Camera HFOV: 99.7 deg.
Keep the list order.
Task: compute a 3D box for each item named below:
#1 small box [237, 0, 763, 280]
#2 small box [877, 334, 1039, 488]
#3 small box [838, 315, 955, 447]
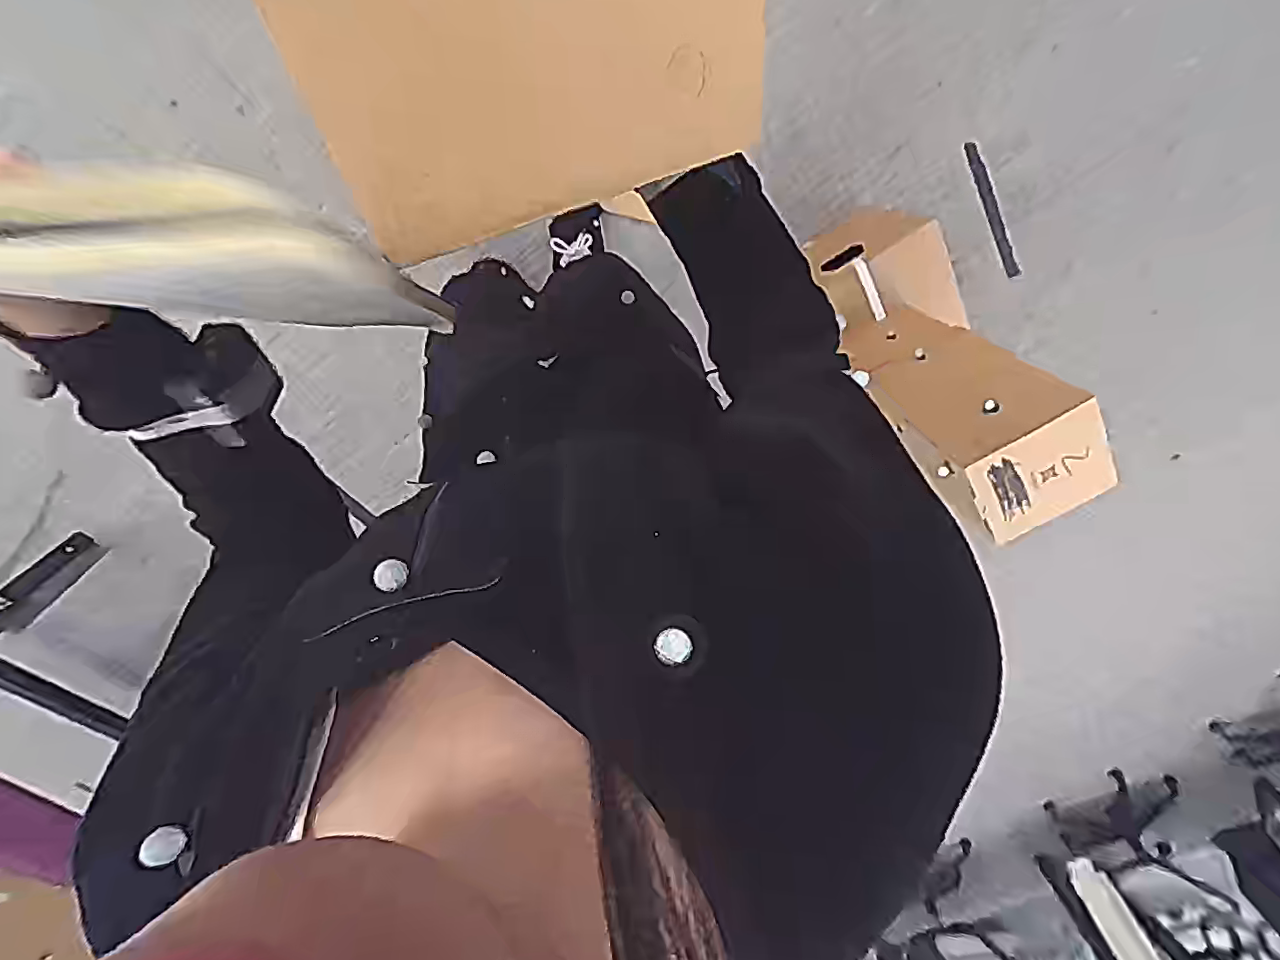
[{"bbox_3d":[-0.067,-0.214,0.209,0.168,0.176,0.179,-24,138,-10],"label":"small box"},{"bbox_3d":[0.536,-0.123,0.937,0.179,0.176,0.168,-30,119,14],"label":"small box"},{"bbox_3d":[0.517,-0.201,1.079,0.179,0.176,0.168,-28,119,11],"label":"small box"}]
